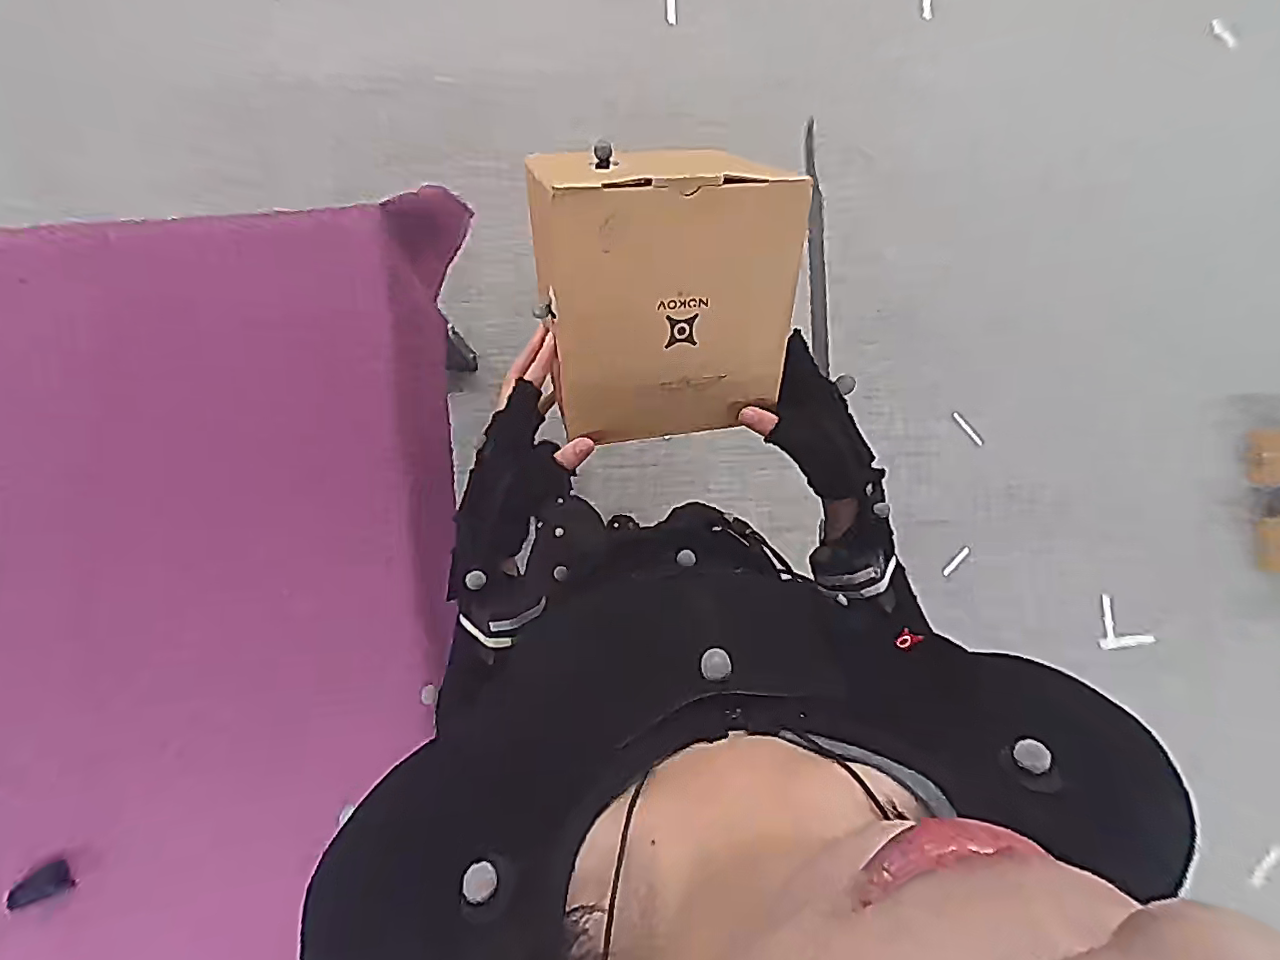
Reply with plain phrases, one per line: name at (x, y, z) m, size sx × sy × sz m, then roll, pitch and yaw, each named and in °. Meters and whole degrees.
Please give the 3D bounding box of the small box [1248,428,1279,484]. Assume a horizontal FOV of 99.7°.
small box at (1.988, -0.077, 1.605) m, size 0.179 × 0.176 × 0.168 m, roll -3°, pitch 87°, yaw -4°

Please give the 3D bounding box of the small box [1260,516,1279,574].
small box at (2.000, 0.199, 1.593) m, size 0.168 × 0.176 × 0.179 m, roll 0°, pitch 88°, yaw -4°

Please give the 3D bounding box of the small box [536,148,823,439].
small box at (0.013, -0.155, 0.425) m, size 0.168 × 0.176 × 0.179 m, roll -7°, pitch 127°, yaw -12°
